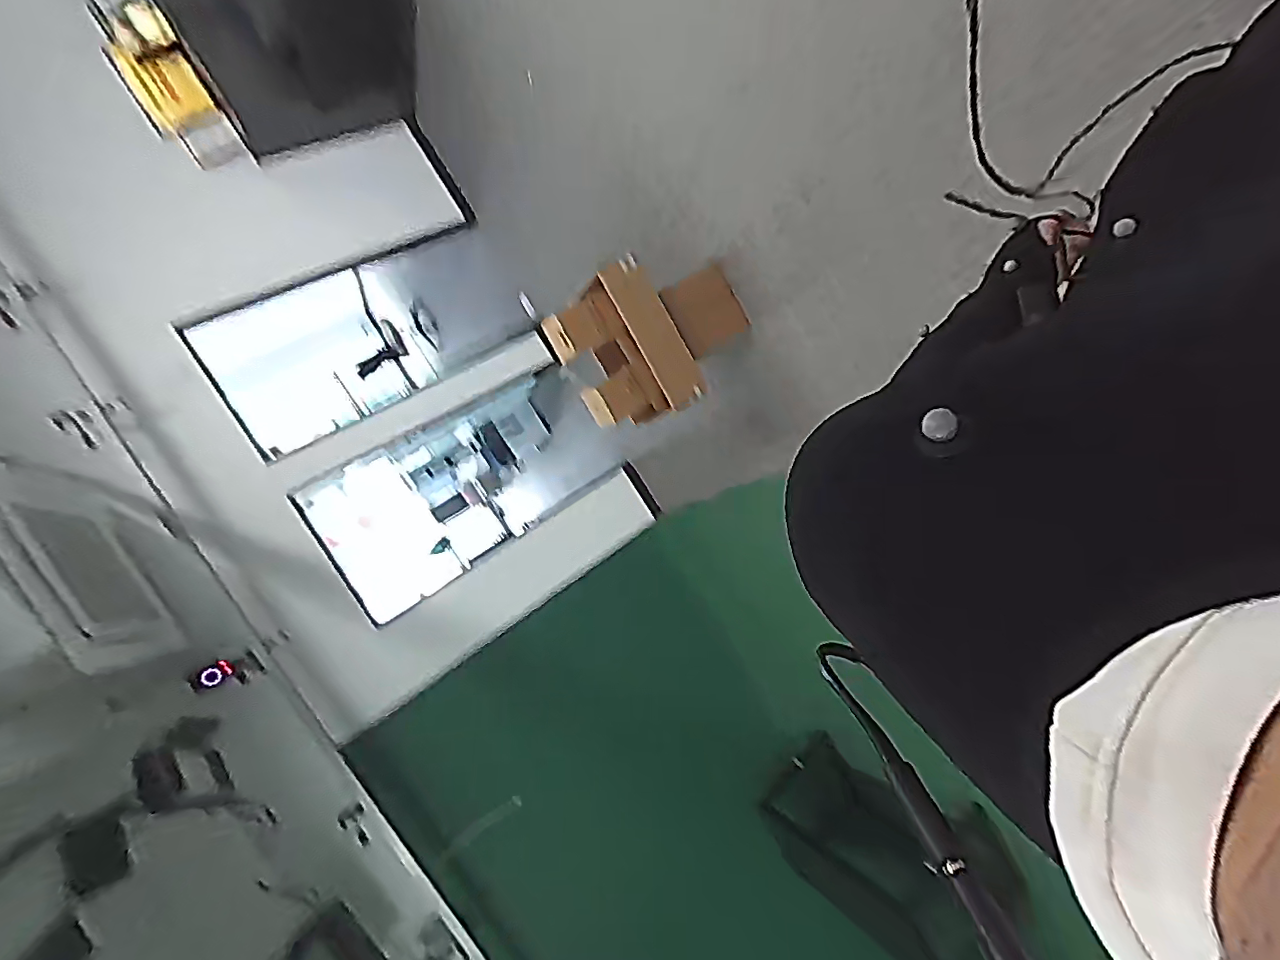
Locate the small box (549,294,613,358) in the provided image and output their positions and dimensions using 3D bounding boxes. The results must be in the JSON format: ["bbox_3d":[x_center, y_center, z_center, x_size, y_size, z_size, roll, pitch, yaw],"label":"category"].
[{"bbox_3d":[-0.231,-0.616,2.157,0.168,0.176,0.179,62,157,-9],"label":"small box"}]

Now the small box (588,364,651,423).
[{"bbox_3d":[-0.082,-0.352,2.202,0.168,0.176,0.179,60,157,-11],"label":"small box"}]

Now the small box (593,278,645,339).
[{"bbox_3d":[-0.107,-0.700,2.226,0.168,0.176,0.179,61,156,-8],"label":"small box"}]
